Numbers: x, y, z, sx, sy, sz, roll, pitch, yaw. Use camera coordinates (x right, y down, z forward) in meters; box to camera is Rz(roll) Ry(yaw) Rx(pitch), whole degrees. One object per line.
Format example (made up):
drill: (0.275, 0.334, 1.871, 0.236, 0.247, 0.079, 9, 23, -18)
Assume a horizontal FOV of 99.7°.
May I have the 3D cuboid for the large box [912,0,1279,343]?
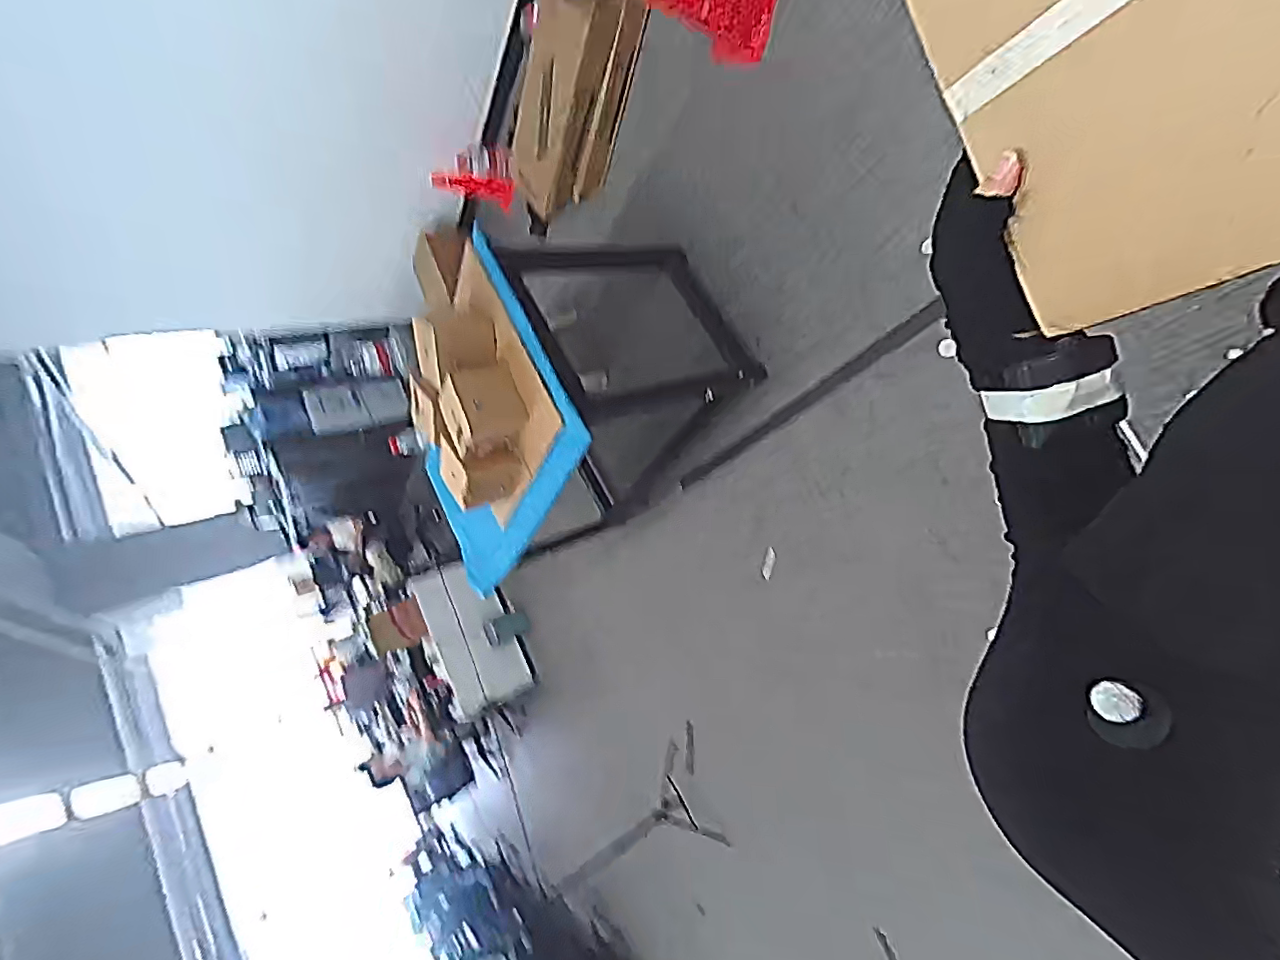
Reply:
large box: (0.415, -0.320, 0.249, 0.408, 0.320, 0.320, -18, 98, 58)
